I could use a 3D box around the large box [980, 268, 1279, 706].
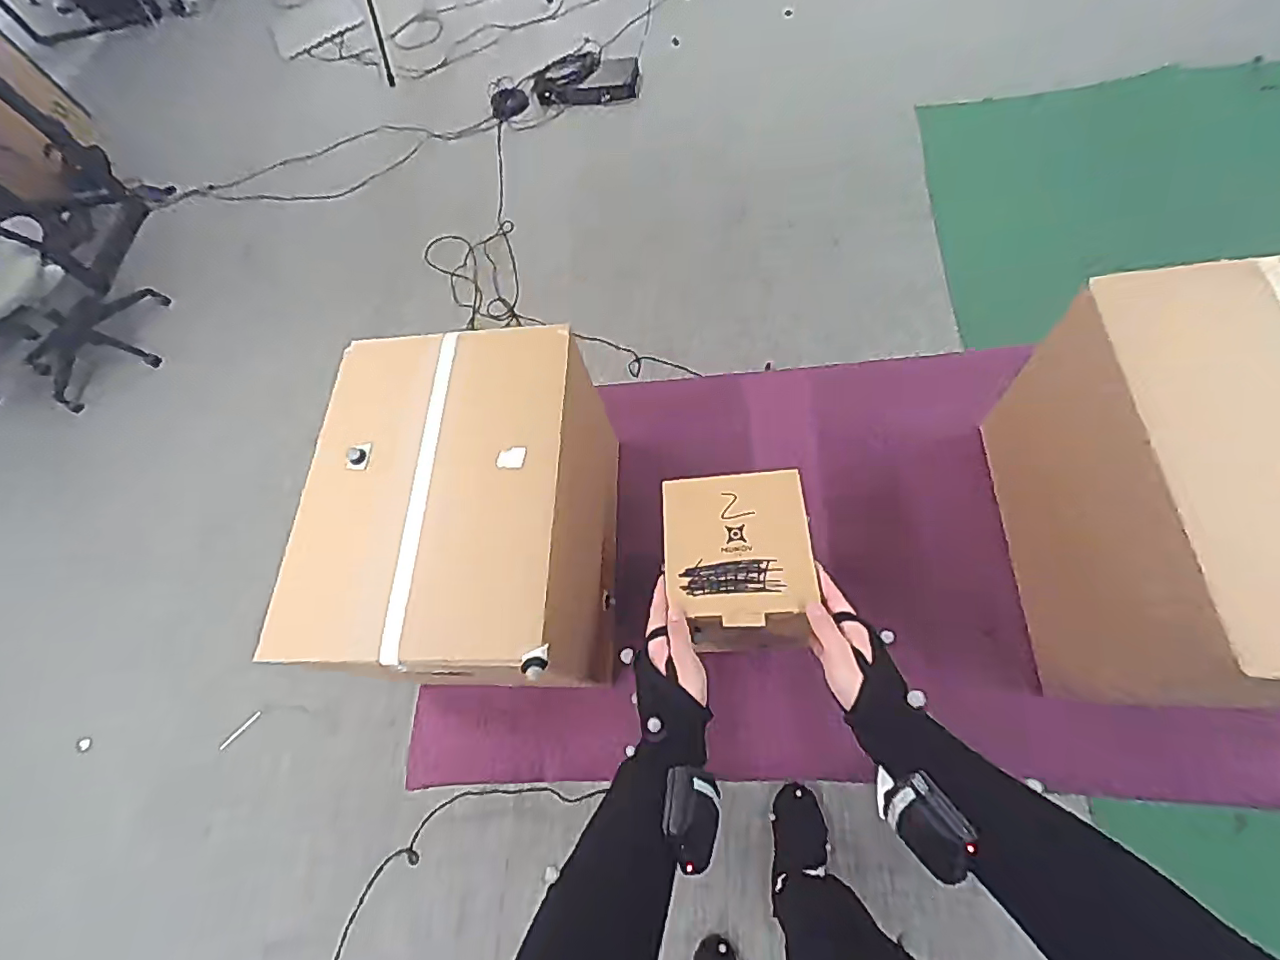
[{"bbox_3d":[0.642,0.026,0.600,0.320,0.320,0.408,-3,66,10],"label":"large box"}]
